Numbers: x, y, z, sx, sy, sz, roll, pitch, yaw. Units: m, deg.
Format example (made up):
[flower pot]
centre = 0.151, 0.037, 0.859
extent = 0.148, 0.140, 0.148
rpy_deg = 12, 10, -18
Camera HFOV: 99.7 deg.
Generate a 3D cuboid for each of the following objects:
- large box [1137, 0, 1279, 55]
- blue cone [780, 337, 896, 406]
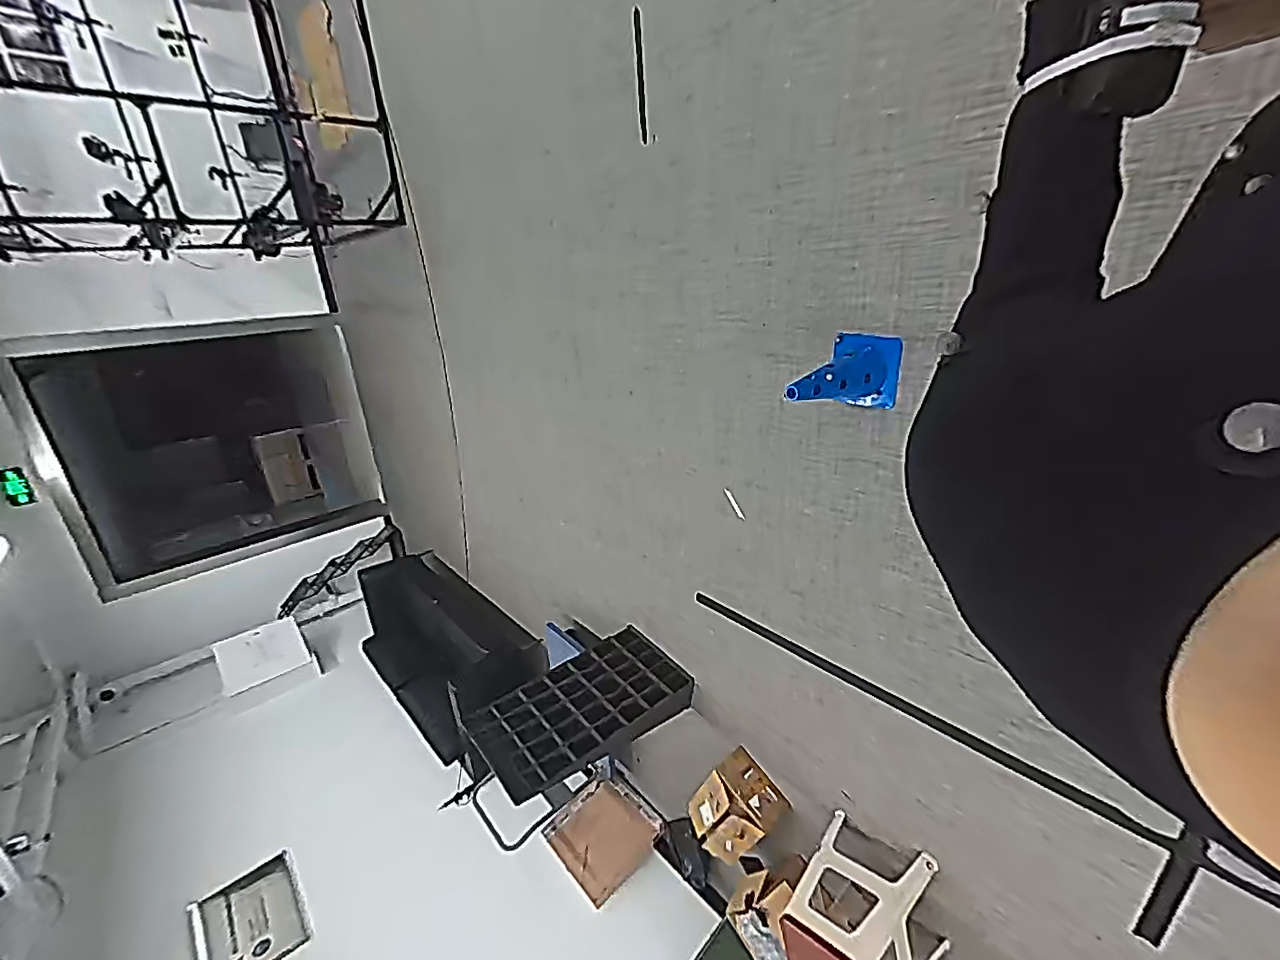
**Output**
[large box]
centre = 0.538, -0.462, 0.244
extent = 0.408, 0.320, 0.320
rpy_deg = 15, 125, 47
[blue cone]
centre = 0.516, -0.269, 1.466
extent = 0.192, 0.380, 0.193
rpy_deg = 25, 125, 45
